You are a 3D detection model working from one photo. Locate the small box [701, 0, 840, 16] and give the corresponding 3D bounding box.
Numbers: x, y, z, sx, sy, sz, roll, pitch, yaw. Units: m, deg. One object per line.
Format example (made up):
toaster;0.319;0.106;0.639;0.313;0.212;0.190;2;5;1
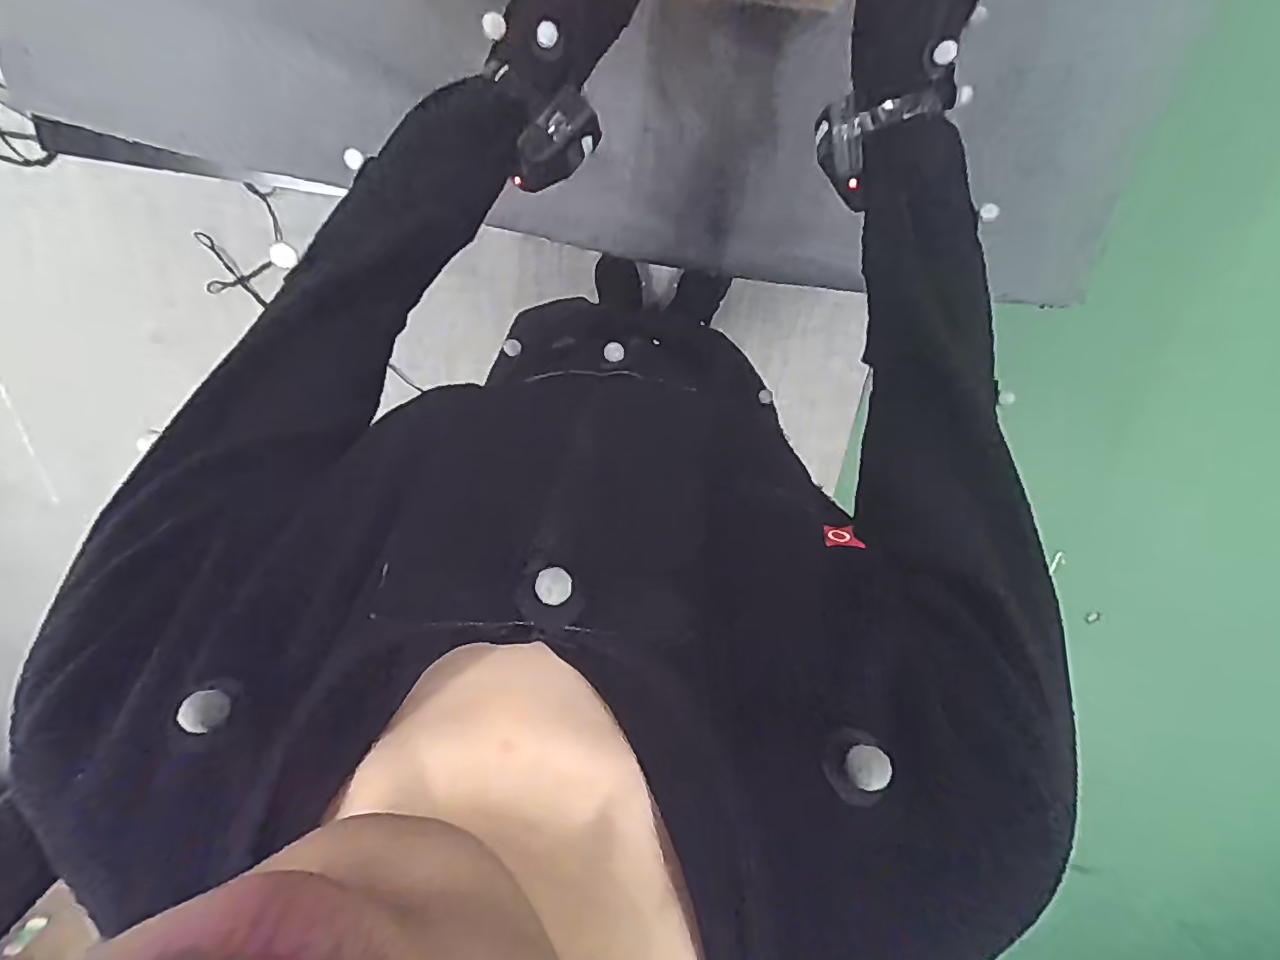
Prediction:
small box;0.109;-0.502;0.413;0.168;0.176;0.179;9;116;3
